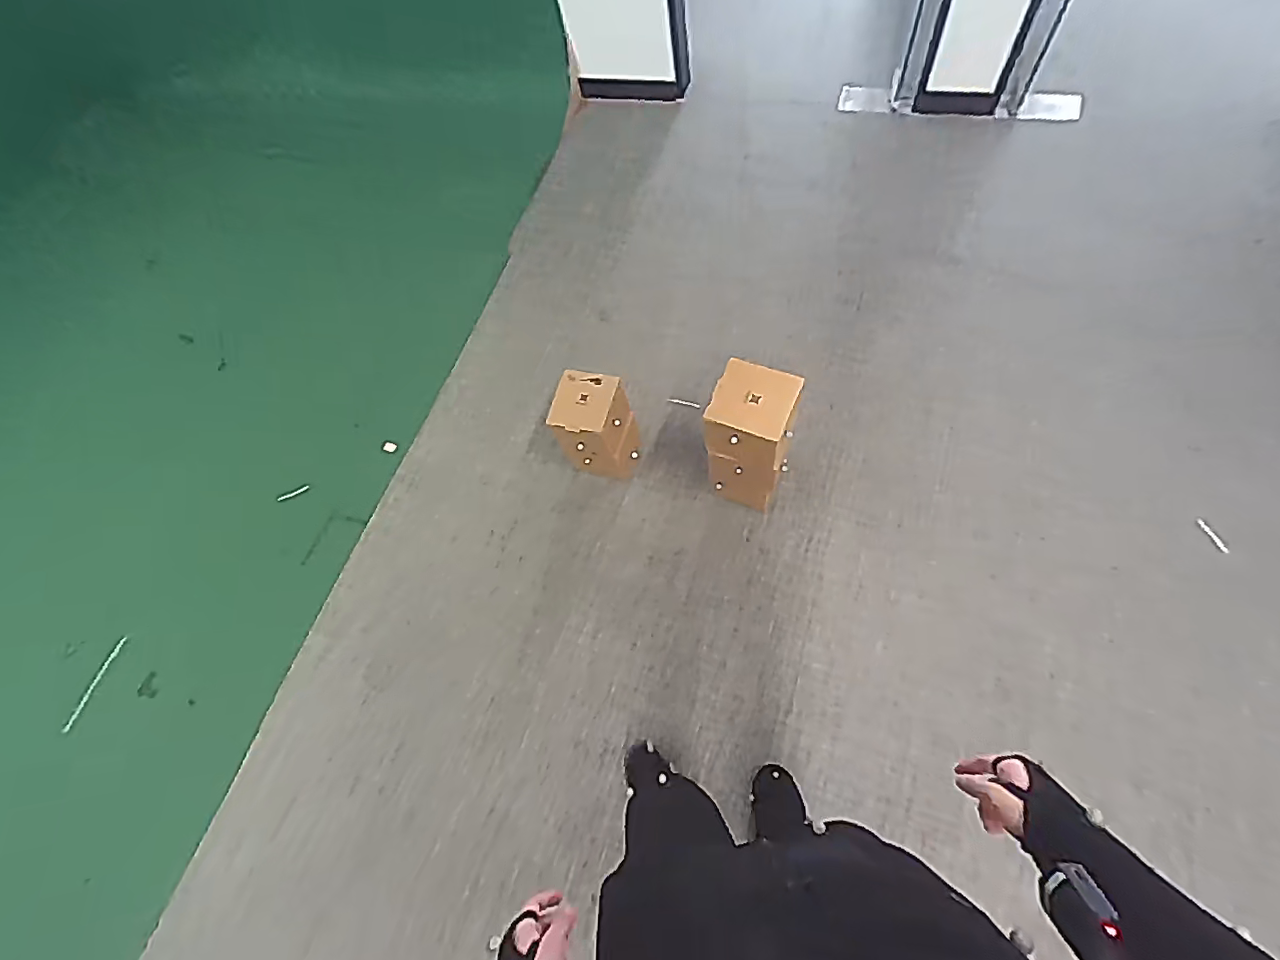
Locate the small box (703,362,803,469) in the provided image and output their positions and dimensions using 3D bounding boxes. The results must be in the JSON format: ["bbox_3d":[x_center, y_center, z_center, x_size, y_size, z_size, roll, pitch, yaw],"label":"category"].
[{"bbox_3d":[0.262,-0.143,1.261,0.179,0.176,0.168,21,73,18],"label":"small box"}]

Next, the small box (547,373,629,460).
[{"bbox_3d":[-0.138,-0.174,1.527,0.168,0.176,0.179,12,70,15],"label":"small box"}]

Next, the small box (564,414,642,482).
[{"bbox_3d":[-0.108,-0.109,1.674,0.179,0.176,0.168,14,71,15],"label":"small box"}]

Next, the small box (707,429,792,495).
[{"bbox_3d":[0.286,-0.079,1.407,0.179,0.176,0.168,16,71,16],"label":"small box"}]
